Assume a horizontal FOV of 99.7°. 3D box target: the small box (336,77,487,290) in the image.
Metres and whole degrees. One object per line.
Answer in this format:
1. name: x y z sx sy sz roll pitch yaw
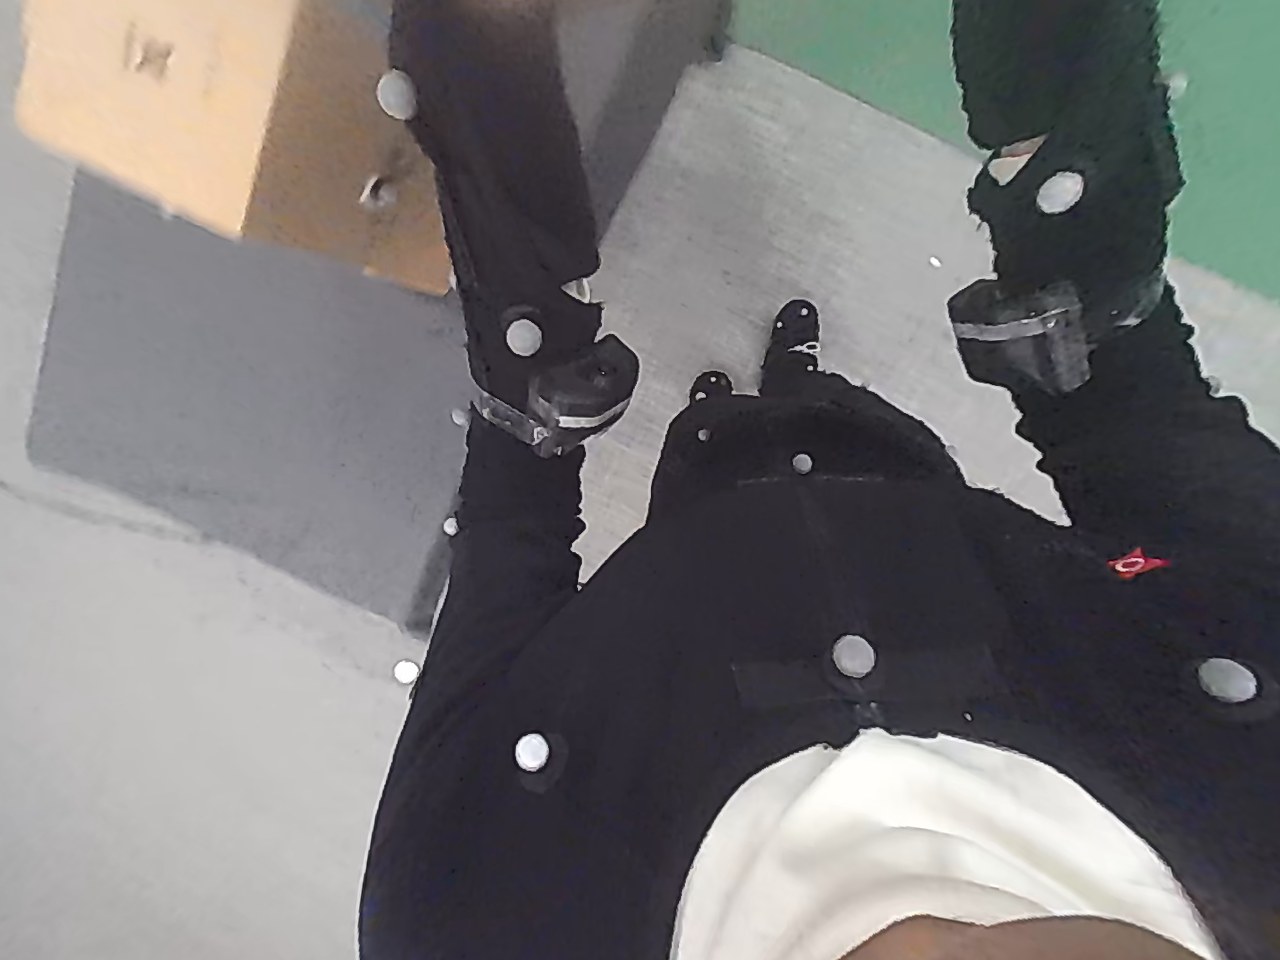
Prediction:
1. small box: -0.288 -0.331 0.587 0.168 0.176 0.179 27 103 0

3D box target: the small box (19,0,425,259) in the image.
1. small box: -0.309 -0.295 0.430 0.179 0.176 0.168 24 106 0
